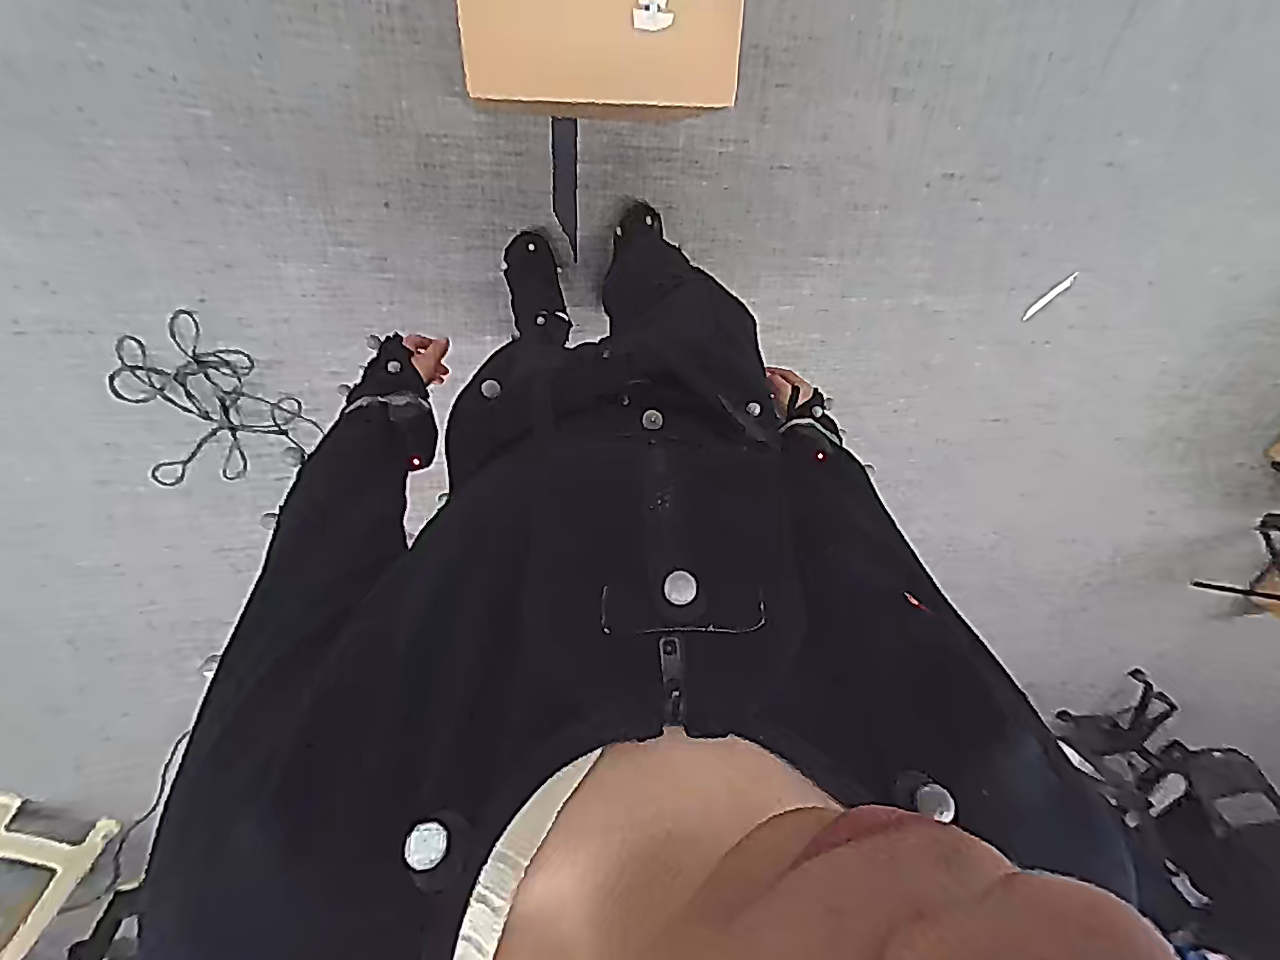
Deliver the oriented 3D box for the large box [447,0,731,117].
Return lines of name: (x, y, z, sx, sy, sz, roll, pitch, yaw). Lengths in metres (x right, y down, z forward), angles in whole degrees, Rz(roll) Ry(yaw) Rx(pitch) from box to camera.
large box: (-0.095, -0.769, 0.852, 0.408, 0.320, 0.320, -6, 122, -11)
